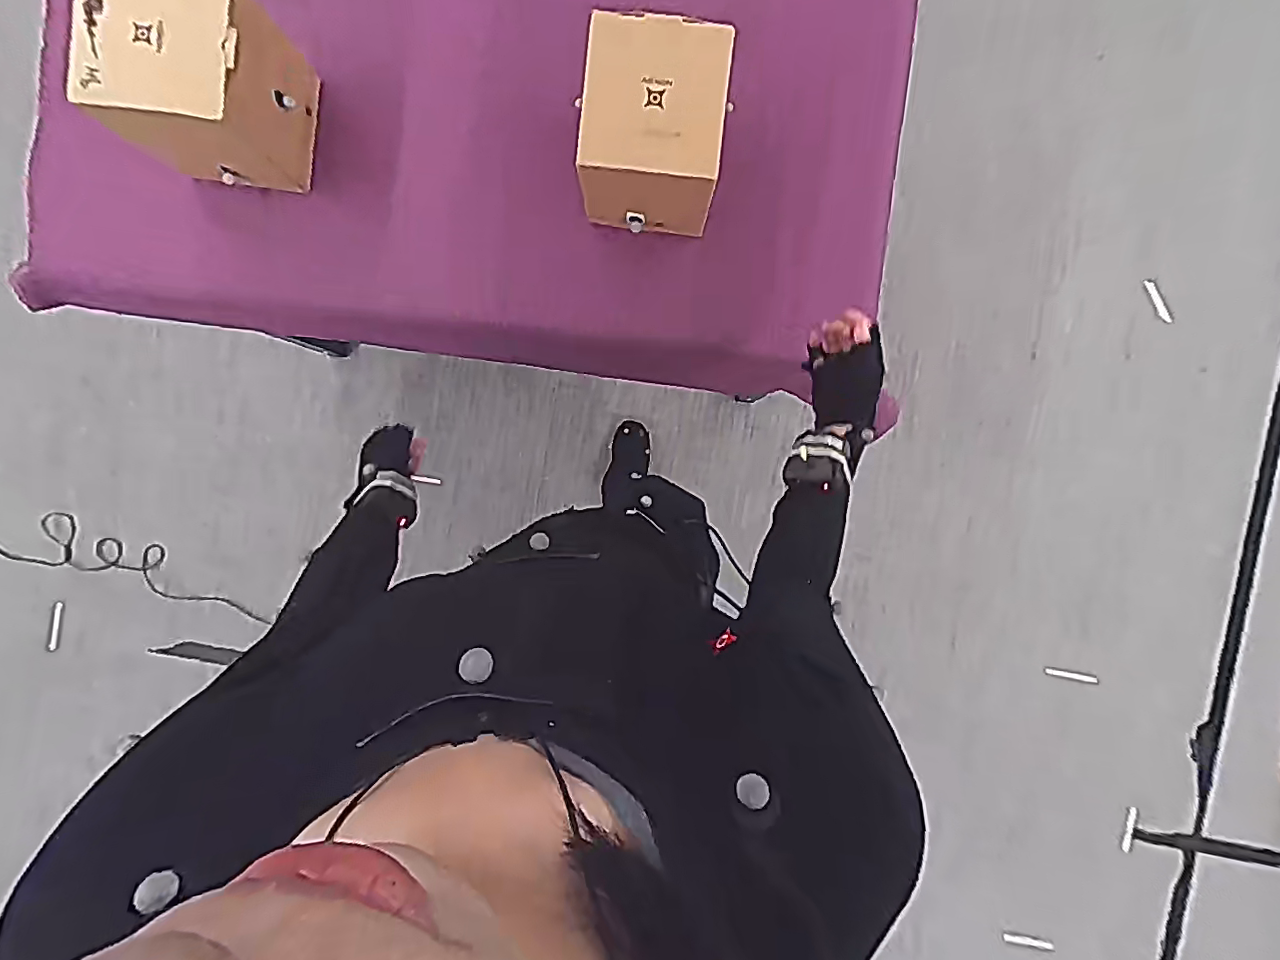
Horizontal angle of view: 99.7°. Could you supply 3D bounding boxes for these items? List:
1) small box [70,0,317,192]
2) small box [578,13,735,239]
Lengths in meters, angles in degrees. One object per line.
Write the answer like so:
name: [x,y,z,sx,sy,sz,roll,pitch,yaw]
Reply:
small box: [-0.542,-0.490,0.682,0.179,0.176,0.168,7,91,-2]
small box: [0.018,-0.438,0.696,0.168,0.176,0.179,6,92,0]
